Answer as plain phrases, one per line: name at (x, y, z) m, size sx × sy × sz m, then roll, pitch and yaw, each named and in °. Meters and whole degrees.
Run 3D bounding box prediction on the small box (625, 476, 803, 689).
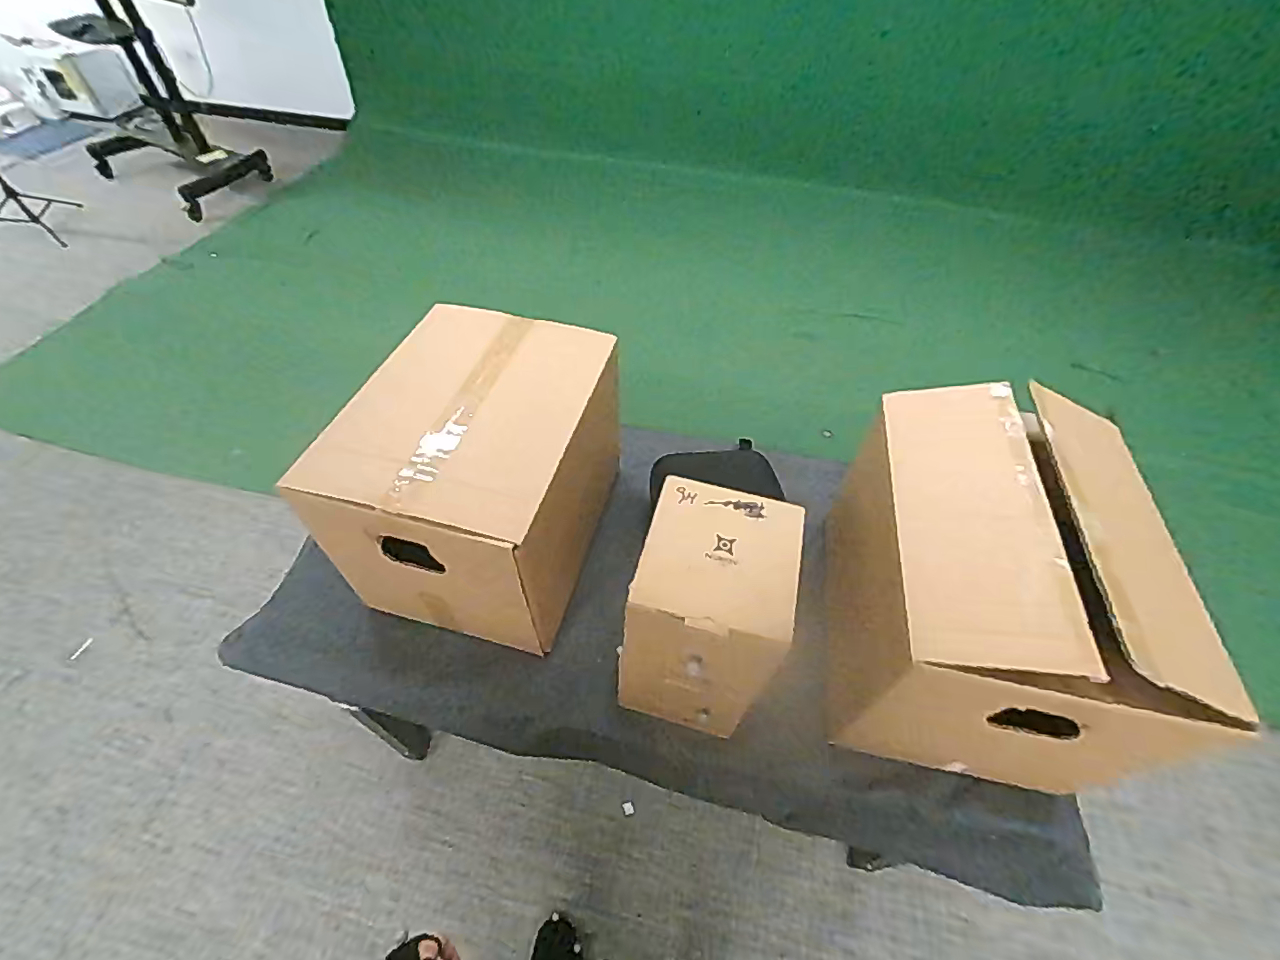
small box at (0.084, 0.127, 0.647) m, size 0.168 × 0.176 × 0.179 m, roll 14°, pitch 53°, yaw 7°
